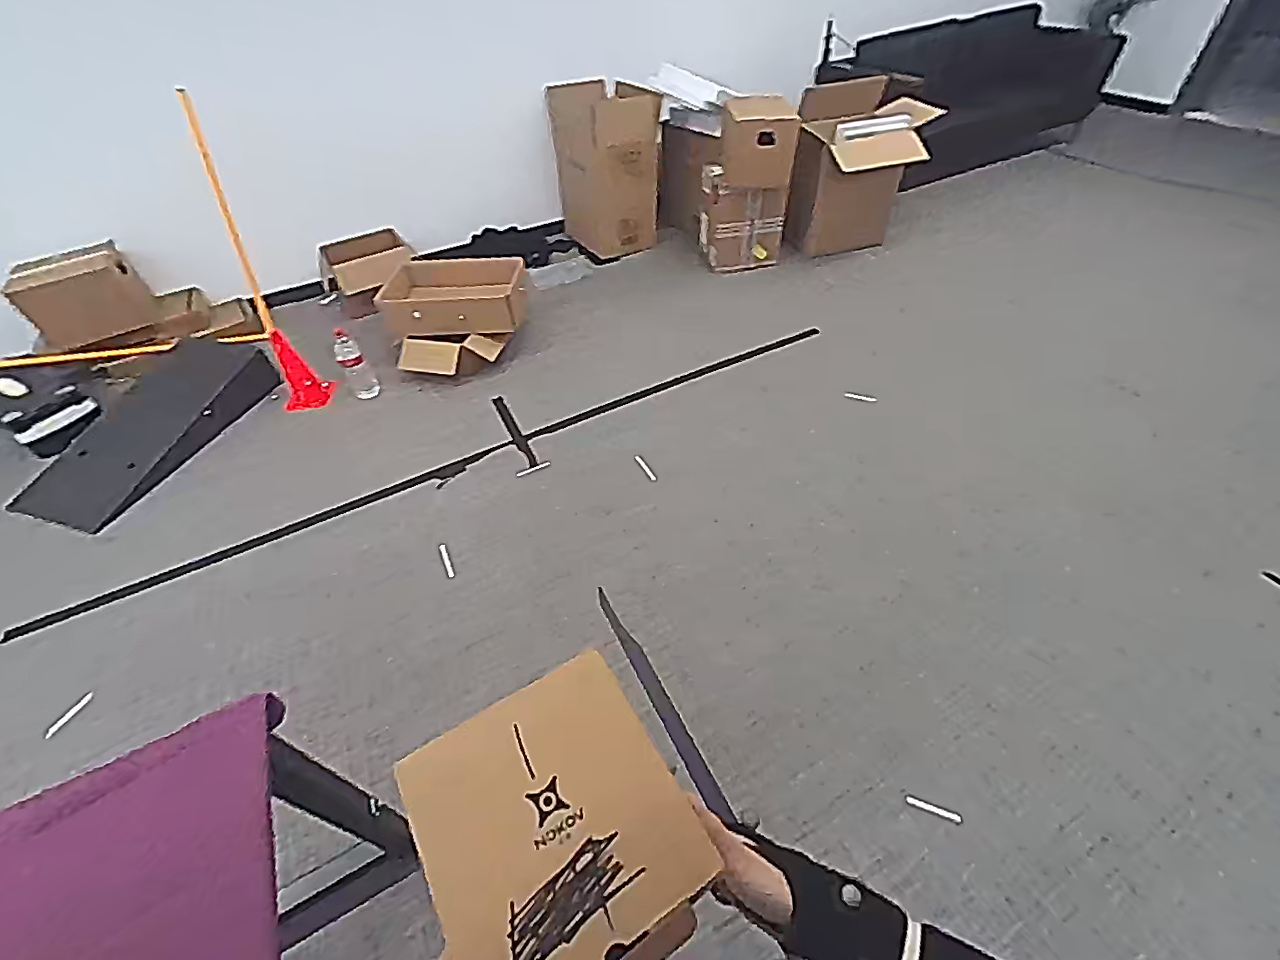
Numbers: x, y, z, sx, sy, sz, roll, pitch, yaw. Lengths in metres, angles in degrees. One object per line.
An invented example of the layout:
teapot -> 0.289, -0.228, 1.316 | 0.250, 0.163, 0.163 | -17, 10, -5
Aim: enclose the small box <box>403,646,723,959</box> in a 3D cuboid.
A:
small box -> -0.057, 0.271, 0.428 | 0.168, 0.176, 0.179 | -25, 55, -20
